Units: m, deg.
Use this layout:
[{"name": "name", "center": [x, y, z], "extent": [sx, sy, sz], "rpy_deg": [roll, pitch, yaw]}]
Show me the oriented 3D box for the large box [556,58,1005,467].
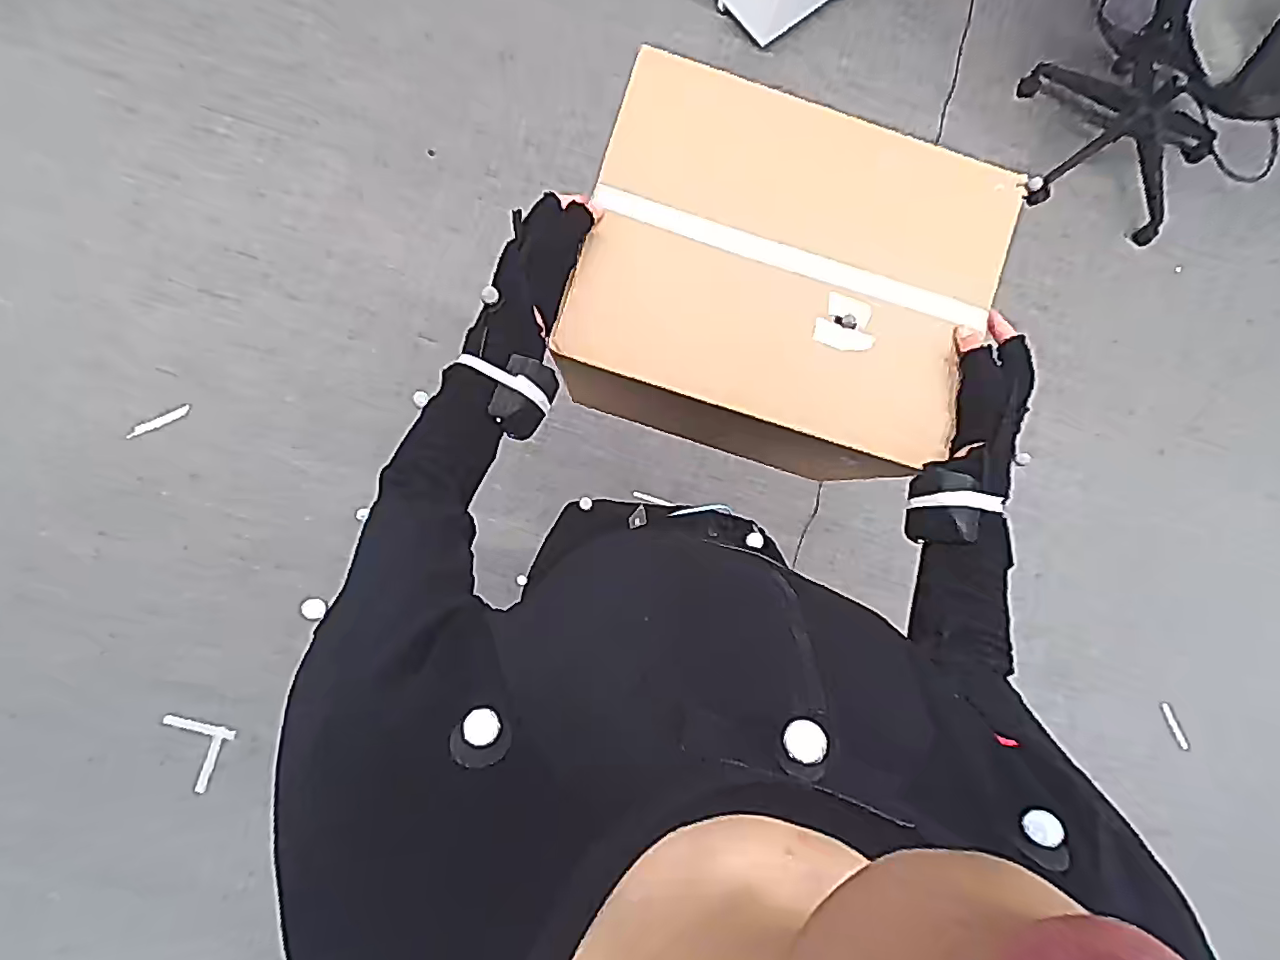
[{"name": "large box", "center": [0.137, -0.221, 0.692], "extent": [0.408, 0.320, 0.320], "rpy_deg": [17, 89, -3]}]
